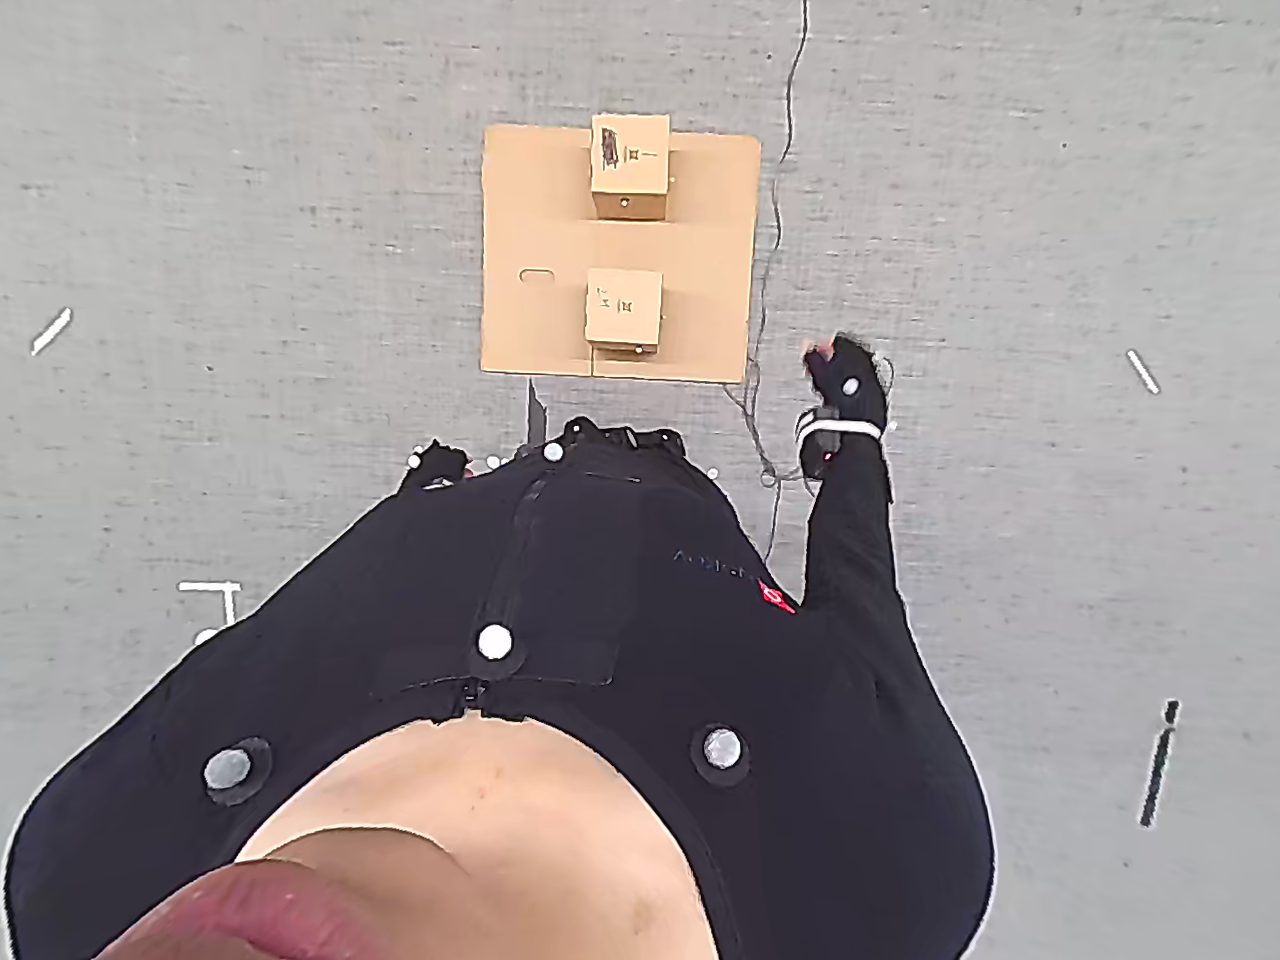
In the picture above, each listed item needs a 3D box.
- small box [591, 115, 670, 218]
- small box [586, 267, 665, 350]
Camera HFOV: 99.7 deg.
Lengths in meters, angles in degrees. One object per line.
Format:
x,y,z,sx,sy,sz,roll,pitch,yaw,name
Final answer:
-0.019,-0.742,1.296,0.179,0.176,0.168,2,98,1,small box
-0.033,-0.418,1.339,0.179,0.176,0.168,4,97,2,small box
